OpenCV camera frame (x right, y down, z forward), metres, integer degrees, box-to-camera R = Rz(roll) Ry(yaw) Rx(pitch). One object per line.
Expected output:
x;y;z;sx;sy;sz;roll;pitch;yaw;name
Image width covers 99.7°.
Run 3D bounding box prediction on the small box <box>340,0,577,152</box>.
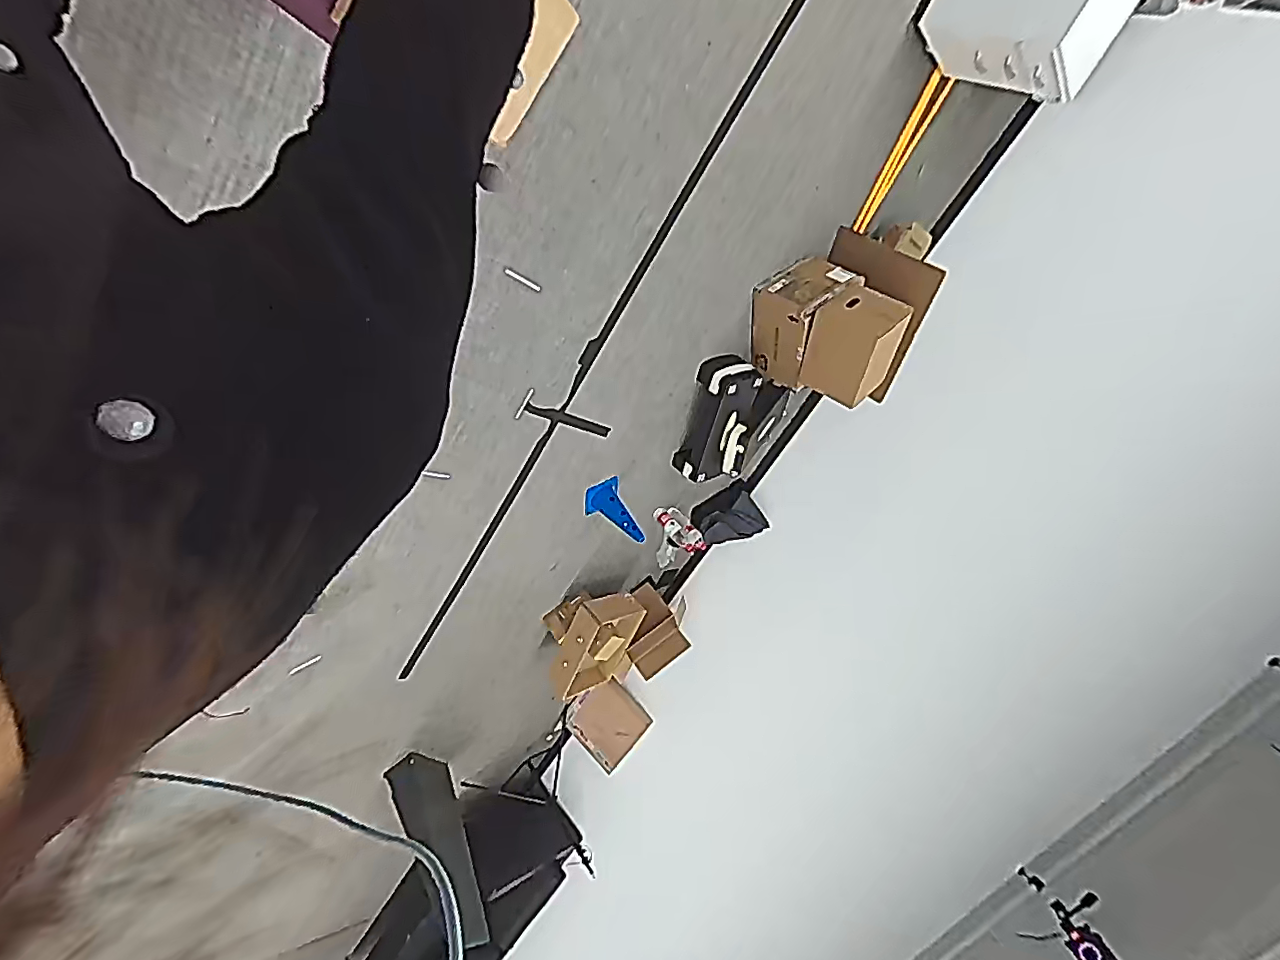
-0.214;-0.533;0.628;0.179;0.176;0.168;-54;146;10;small box
